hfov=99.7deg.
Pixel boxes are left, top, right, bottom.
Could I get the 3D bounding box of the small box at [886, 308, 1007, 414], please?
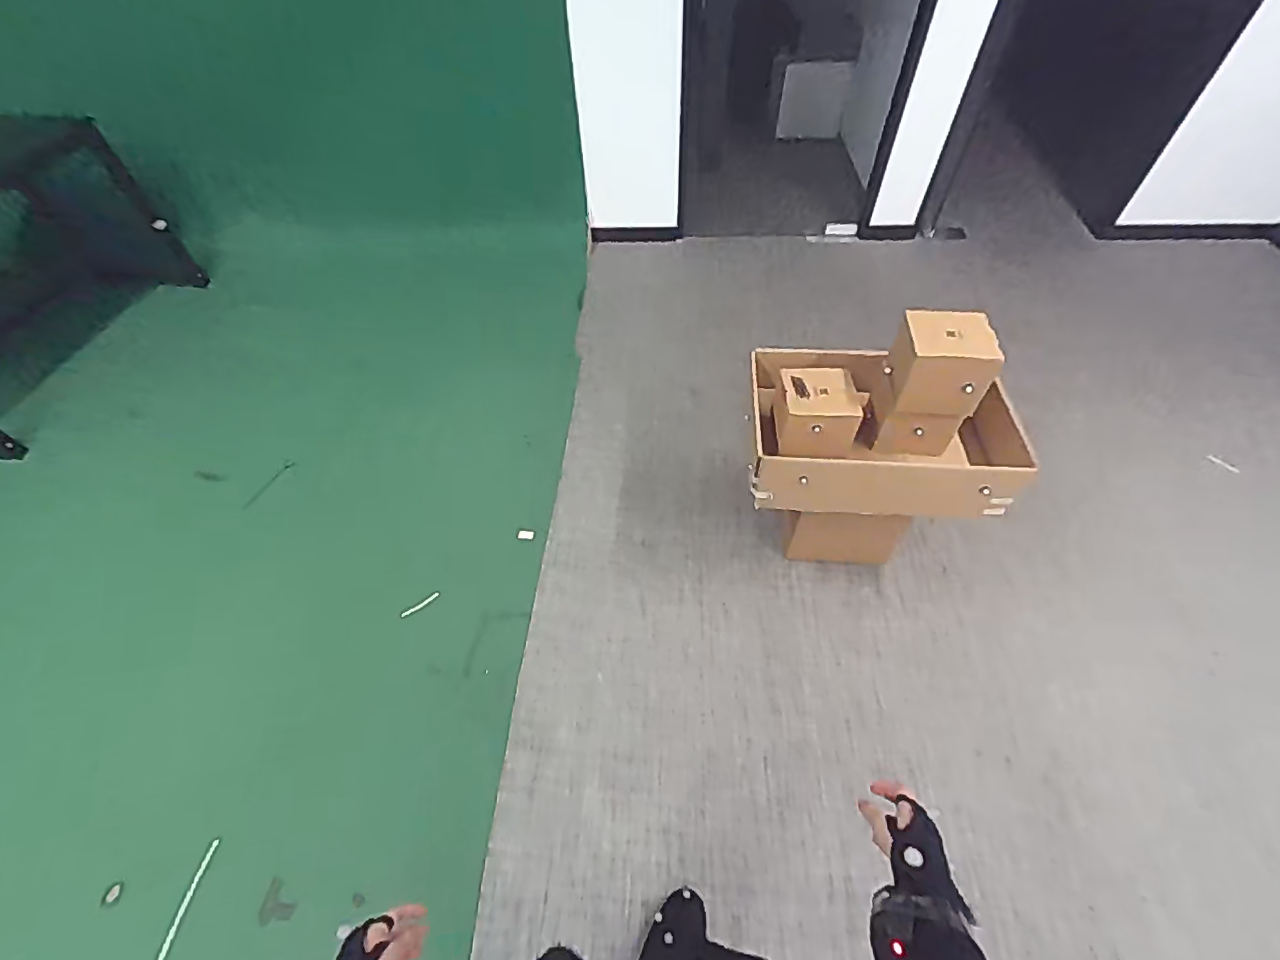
[{"bbox_3d":[0.680,-0.266,1.220,0.179,0.176,0.168,5,52,8],"label":"small box"}]
